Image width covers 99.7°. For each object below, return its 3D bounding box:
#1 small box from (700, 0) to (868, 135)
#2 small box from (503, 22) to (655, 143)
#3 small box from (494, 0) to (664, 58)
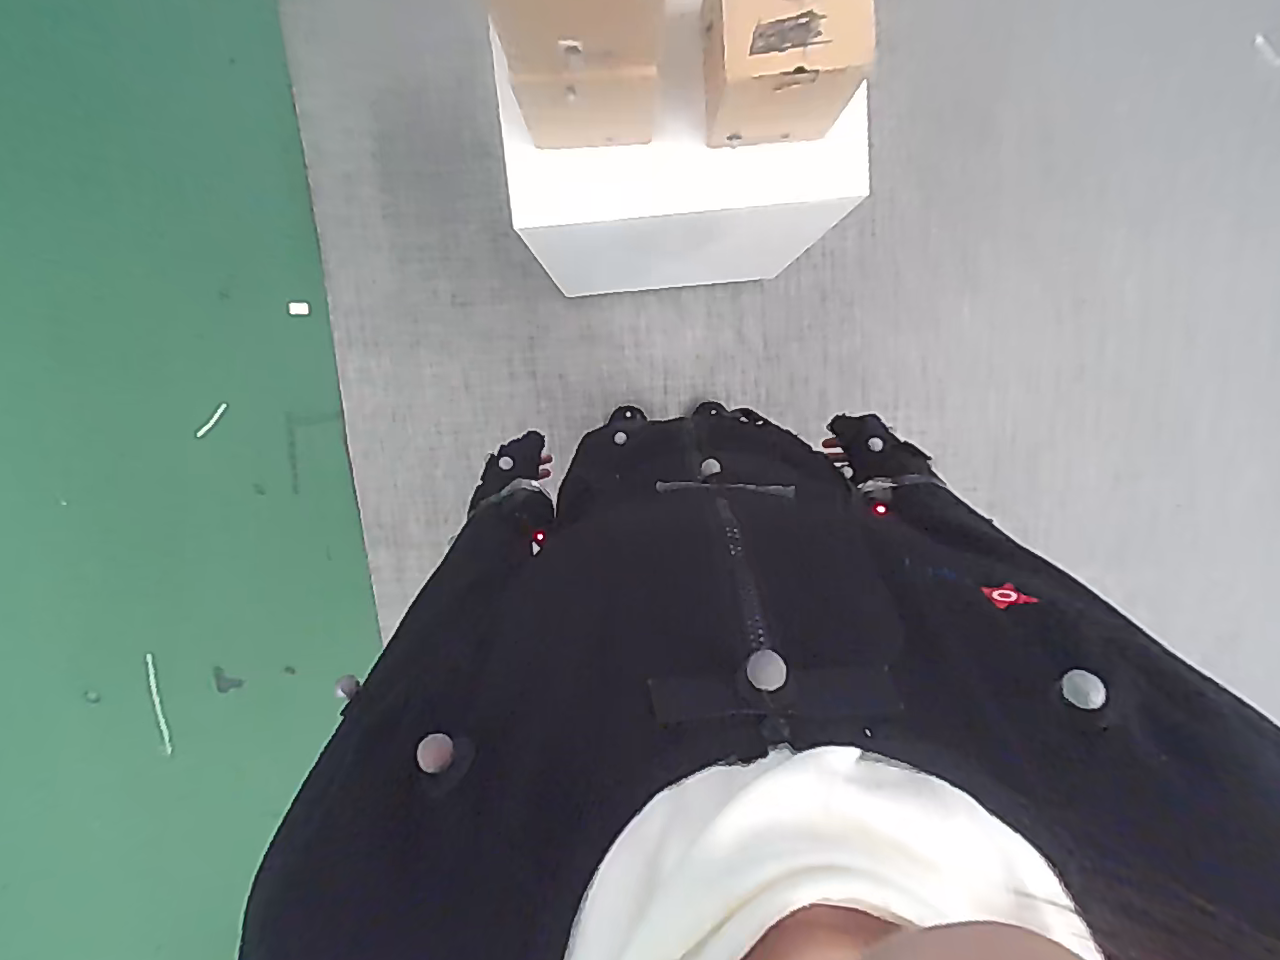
[{"bbox_3d":[0.165,-0.548,0.660,0.168,0.176,0.179,-4,98,1],"label":"small box"},{"bbox_3d":[-0.068,-0.546,0.660,0.168,0.176,0.179,-2,98,1],"label":"small box"},{"bbox_3d":[-0.064,-0.527,0.483,0.168,0.176,0.179,-5,100,1],"label":"small box"}]
